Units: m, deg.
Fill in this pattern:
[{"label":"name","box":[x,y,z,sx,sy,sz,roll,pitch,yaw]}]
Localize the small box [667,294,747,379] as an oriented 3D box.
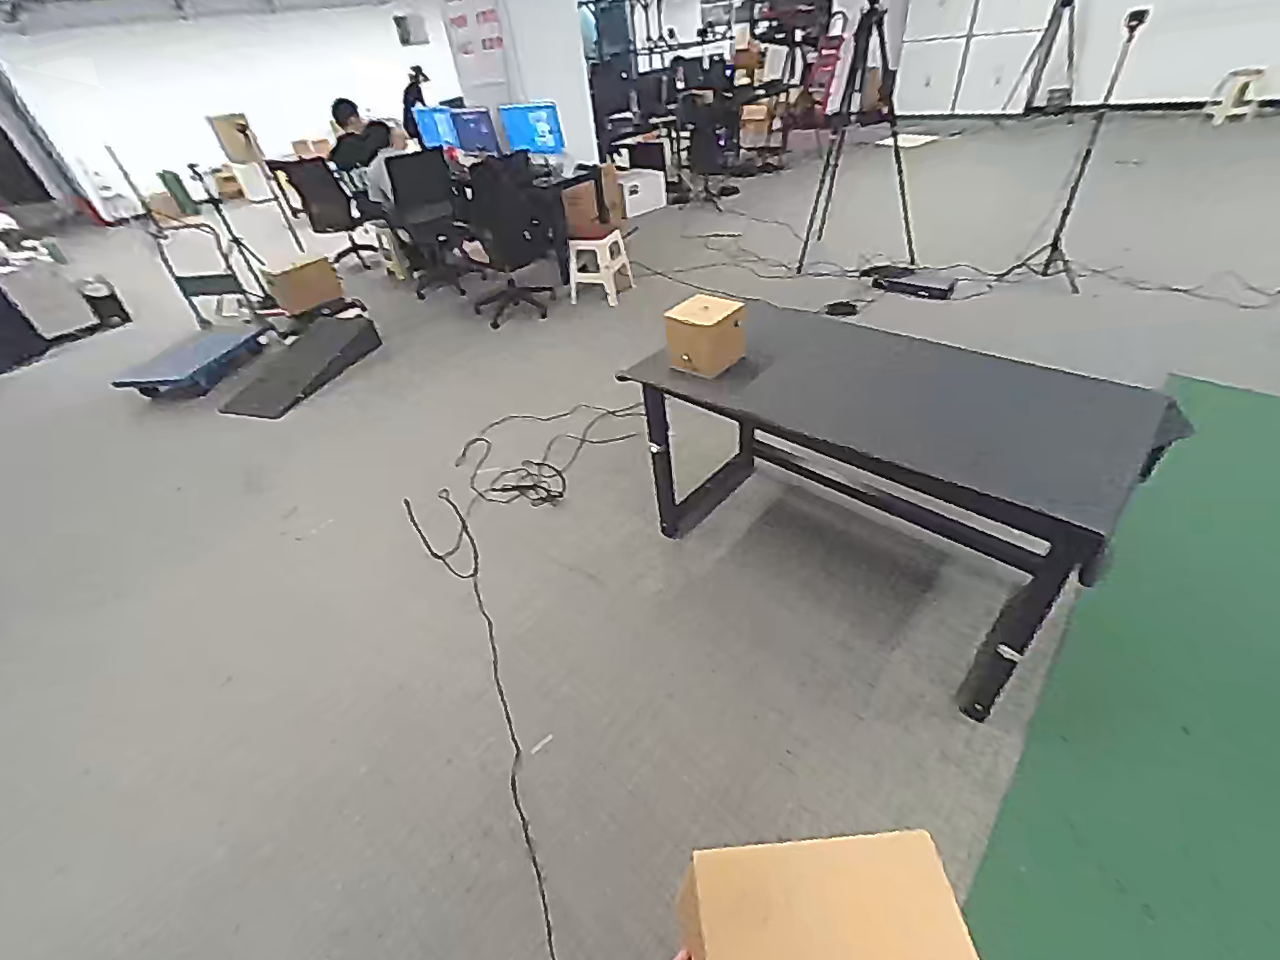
[{"label":"small box","box":[0.197,-0.424,1.594,0.168,0.176,0.179,26,50,34]}]
